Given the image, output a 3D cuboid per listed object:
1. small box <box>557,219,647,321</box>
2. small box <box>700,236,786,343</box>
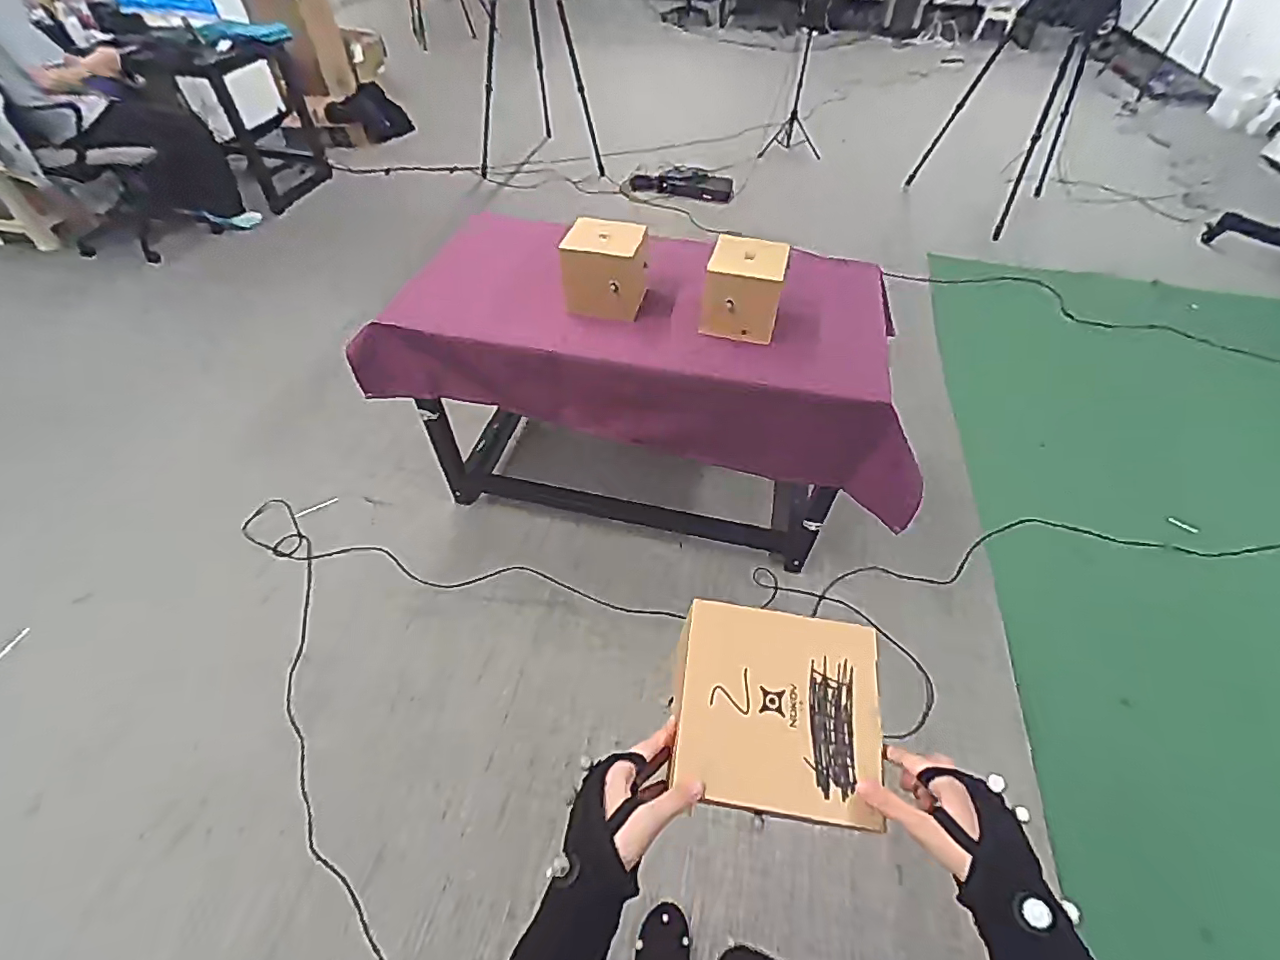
[{"bbox_3d":[-0.087,-0.510,1.321,0.179,0.176,0.168,11,49,9],"label":"small box"},{"bbox_3d":[0.238,-0.445,1.272,0.168,0.176,0.179,12,50,9],"label":"small box"}]
